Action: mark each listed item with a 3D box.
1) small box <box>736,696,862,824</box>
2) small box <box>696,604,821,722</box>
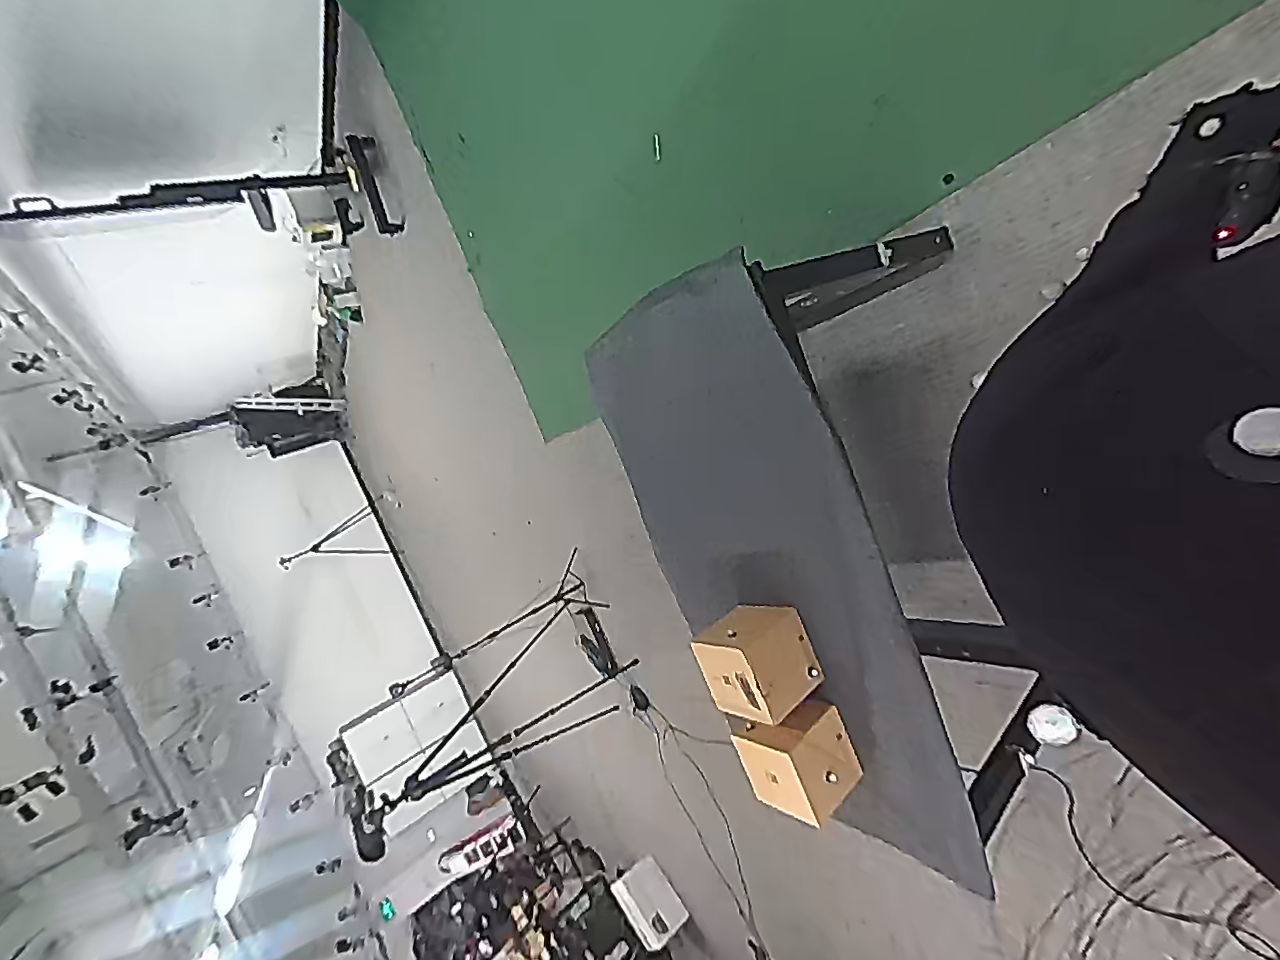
[{"bbox_3d":[0.346,0.580,1.158,0.179,0.176,0.168,-19,96,58],"label":"small box"},{"bbox_3d":[0.256,0.376,1.145,0.179,0.176,0.168,-18,96,58],"label":"small box"}]
